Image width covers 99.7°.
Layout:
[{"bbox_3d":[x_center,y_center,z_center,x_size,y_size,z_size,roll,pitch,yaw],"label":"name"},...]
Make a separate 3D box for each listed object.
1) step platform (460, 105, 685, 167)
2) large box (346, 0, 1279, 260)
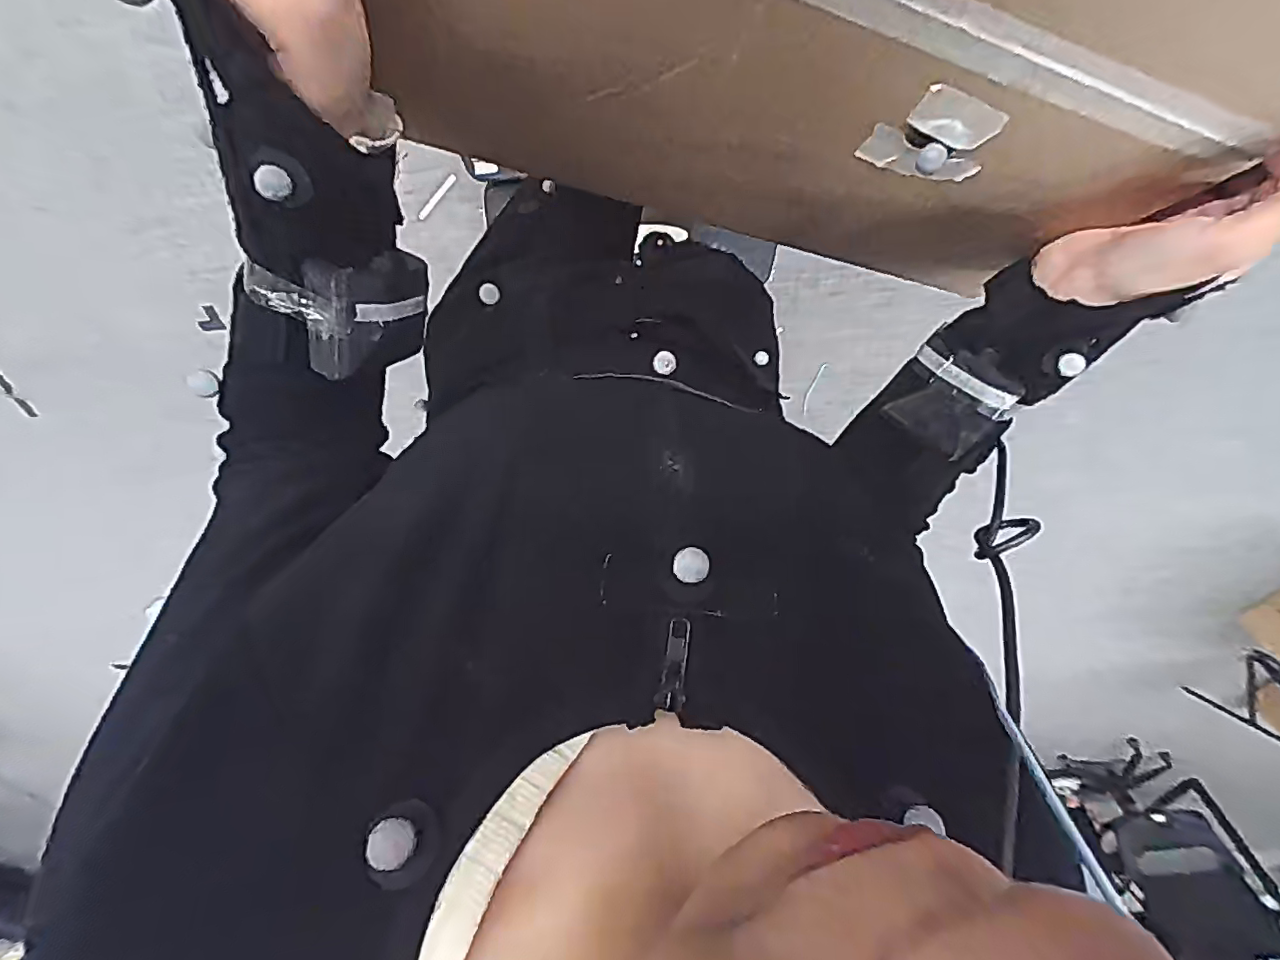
[{"bbox_3d":[-0.001,-0.769,1.021,0.684,0.204,0.286,0,131,-2],"label":"step platform"},{"bbox_3d":[0.110,-0.331,0.179,0.408,0.320,0.320,8,174,-14],"label":"large box"}]
